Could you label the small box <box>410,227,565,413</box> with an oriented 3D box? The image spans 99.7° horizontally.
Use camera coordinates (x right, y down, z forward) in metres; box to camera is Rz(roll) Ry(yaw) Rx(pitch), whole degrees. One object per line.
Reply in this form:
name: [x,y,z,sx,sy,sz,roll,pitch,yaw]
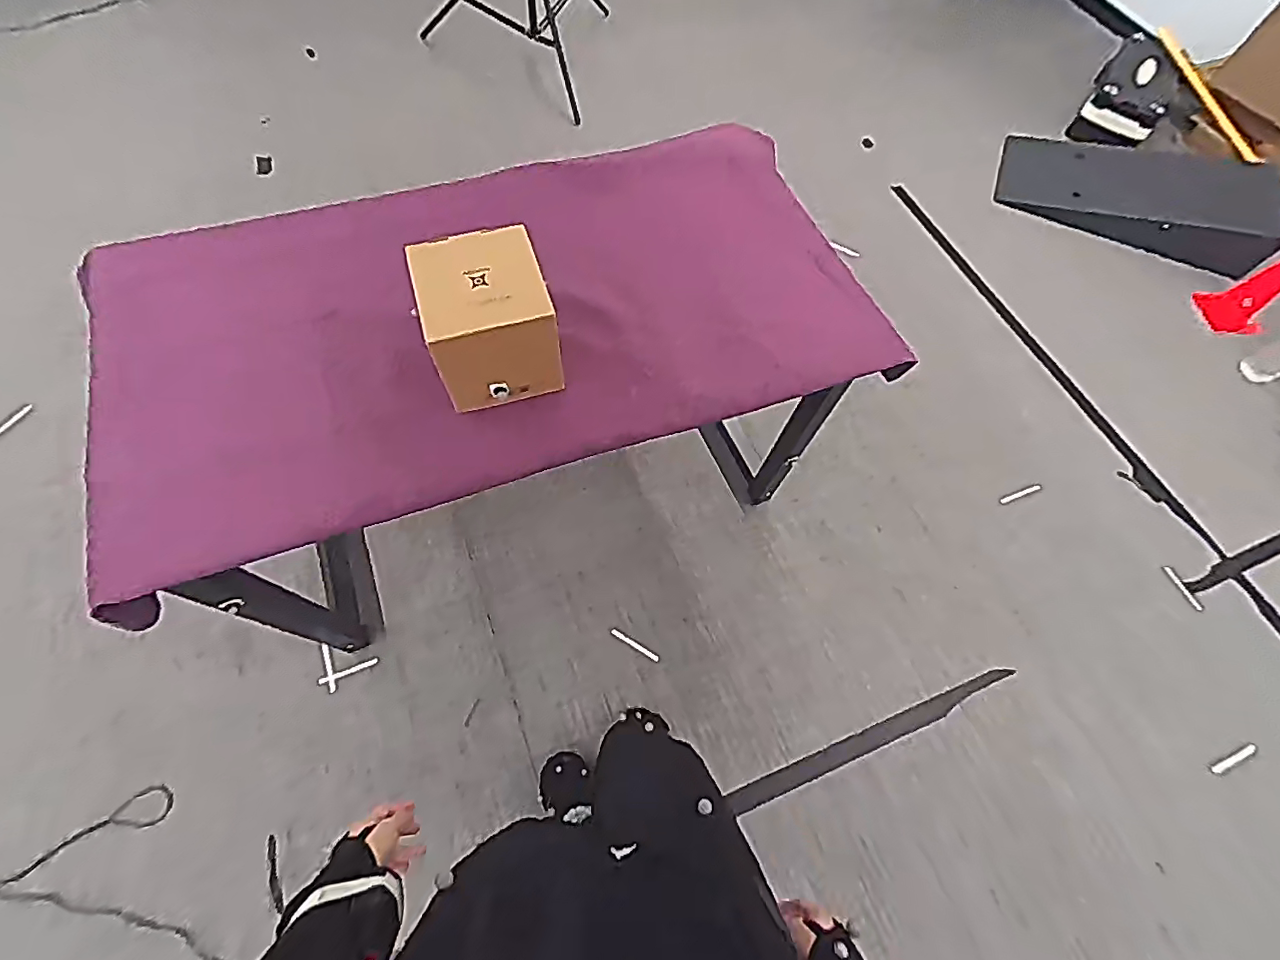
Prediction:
small box: [-0.213,-0.226,0.783,0.168,0.176,0.179,-17,67,-11]
